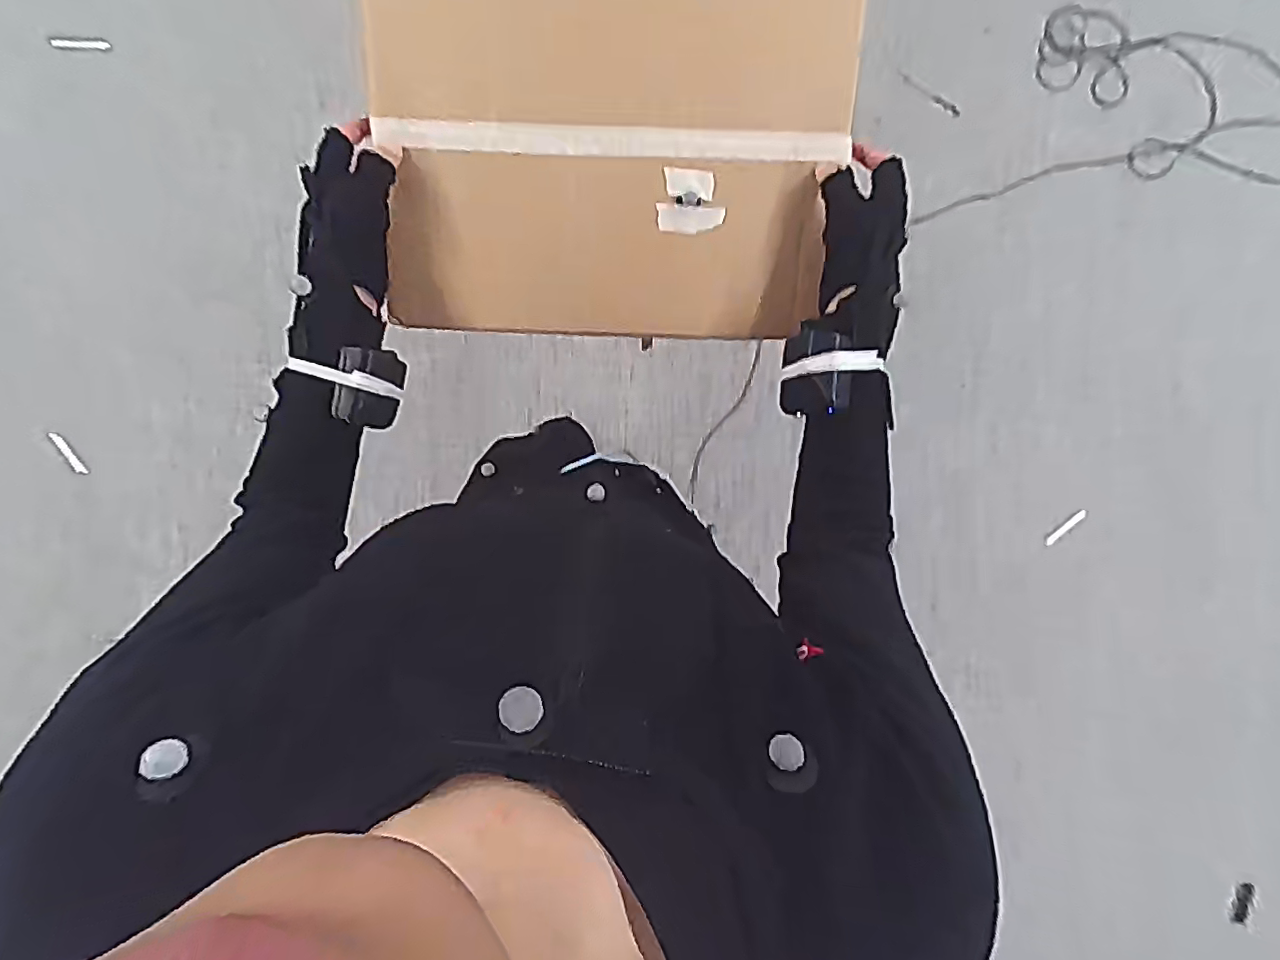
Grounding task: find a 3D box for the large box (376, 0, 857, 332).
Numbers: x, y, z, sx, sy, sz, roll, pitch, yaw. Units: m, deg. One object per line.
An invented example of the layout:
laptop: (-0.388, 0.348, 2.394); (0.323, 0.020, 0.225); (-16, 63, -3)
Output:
large box: (-0.025, -0.333, 0.613); (0.408, 0.320, 0.320); (2, 105, -2)
